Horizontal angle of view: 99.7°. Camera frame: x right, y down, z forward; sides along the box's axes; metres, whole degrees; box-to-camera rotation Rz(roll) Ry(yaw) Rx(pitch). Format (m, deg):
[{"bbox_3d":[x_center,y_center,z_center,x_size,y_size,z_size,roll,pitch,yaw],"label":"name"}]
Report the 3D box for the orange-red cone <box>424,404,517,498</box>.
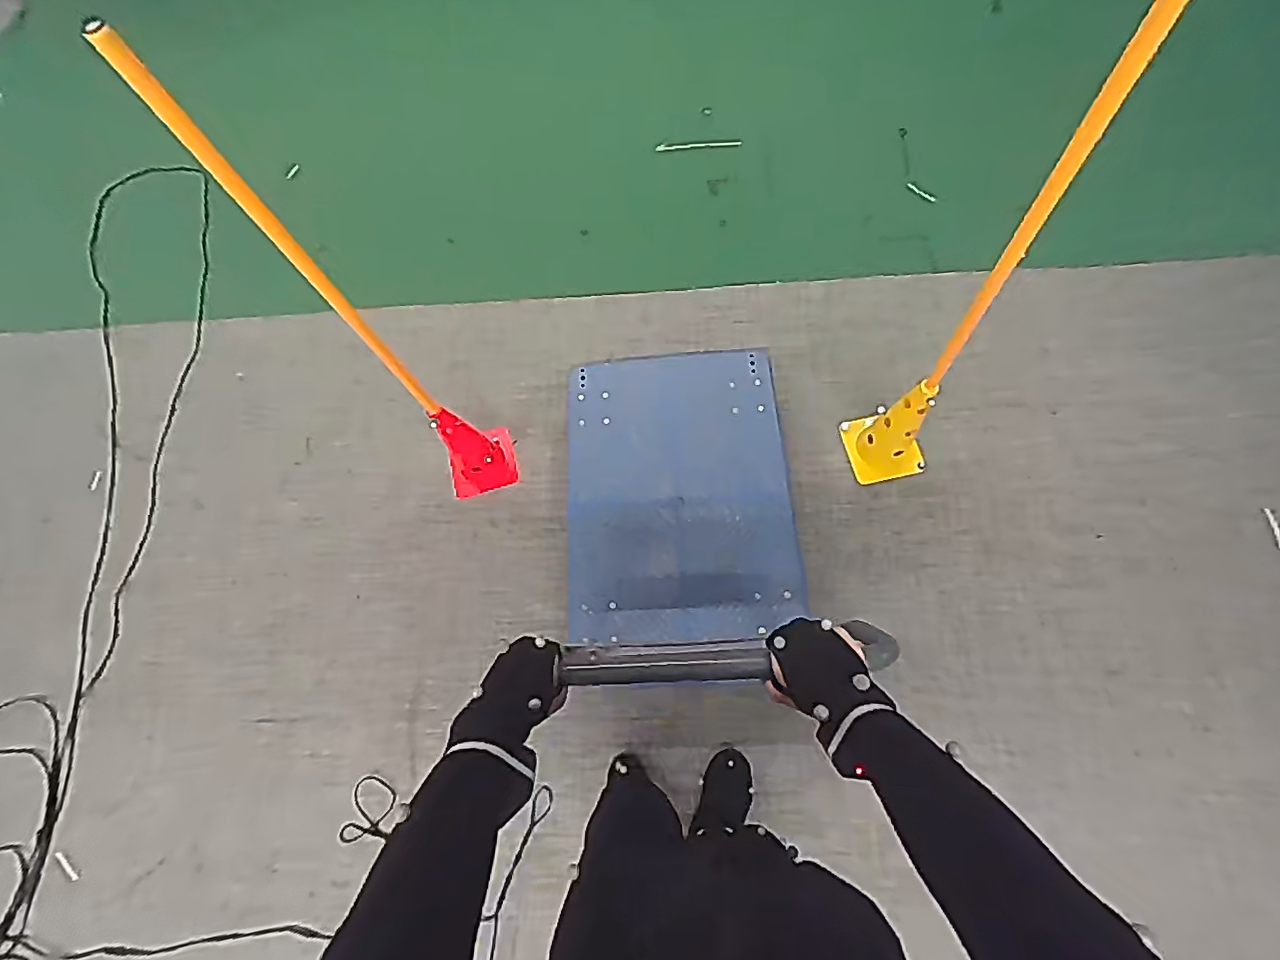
[{"bbox_3d":[-0.499,-0.110,1.494,0.199,0.360,0.198,-16,69,1],"label":"orange-red cone"}]
